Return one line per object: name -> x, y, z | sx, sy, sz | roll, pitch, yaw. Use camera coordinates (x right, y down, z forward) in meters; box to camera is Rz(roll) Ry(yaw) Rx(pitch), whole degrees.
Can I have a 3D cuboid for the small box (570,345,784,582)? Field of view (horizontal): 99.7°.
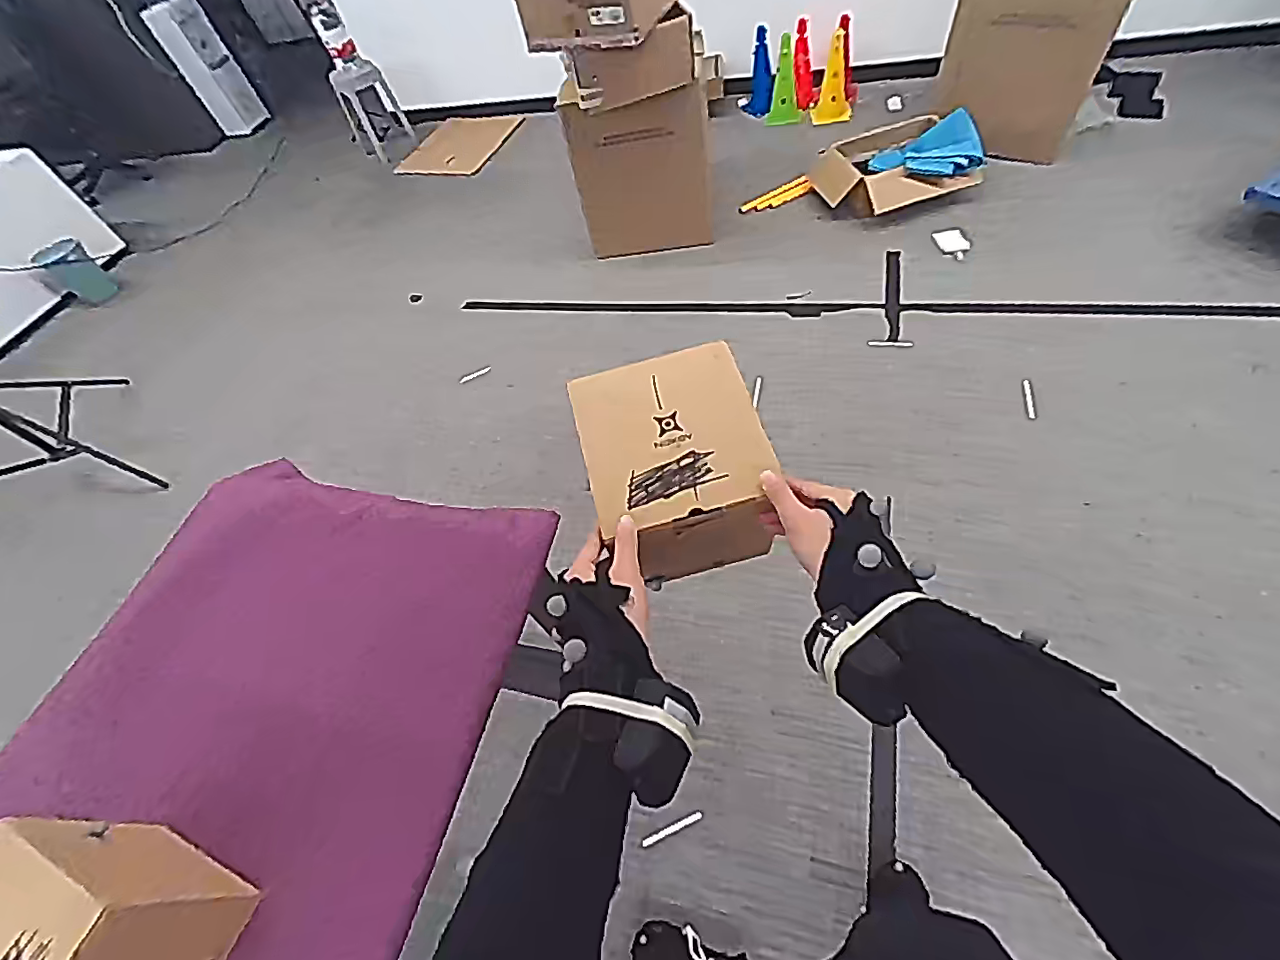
small box -> 0.037, -0.004, 0.570 | 0.168, 0.176, 0.179 | -15, 61, -1
